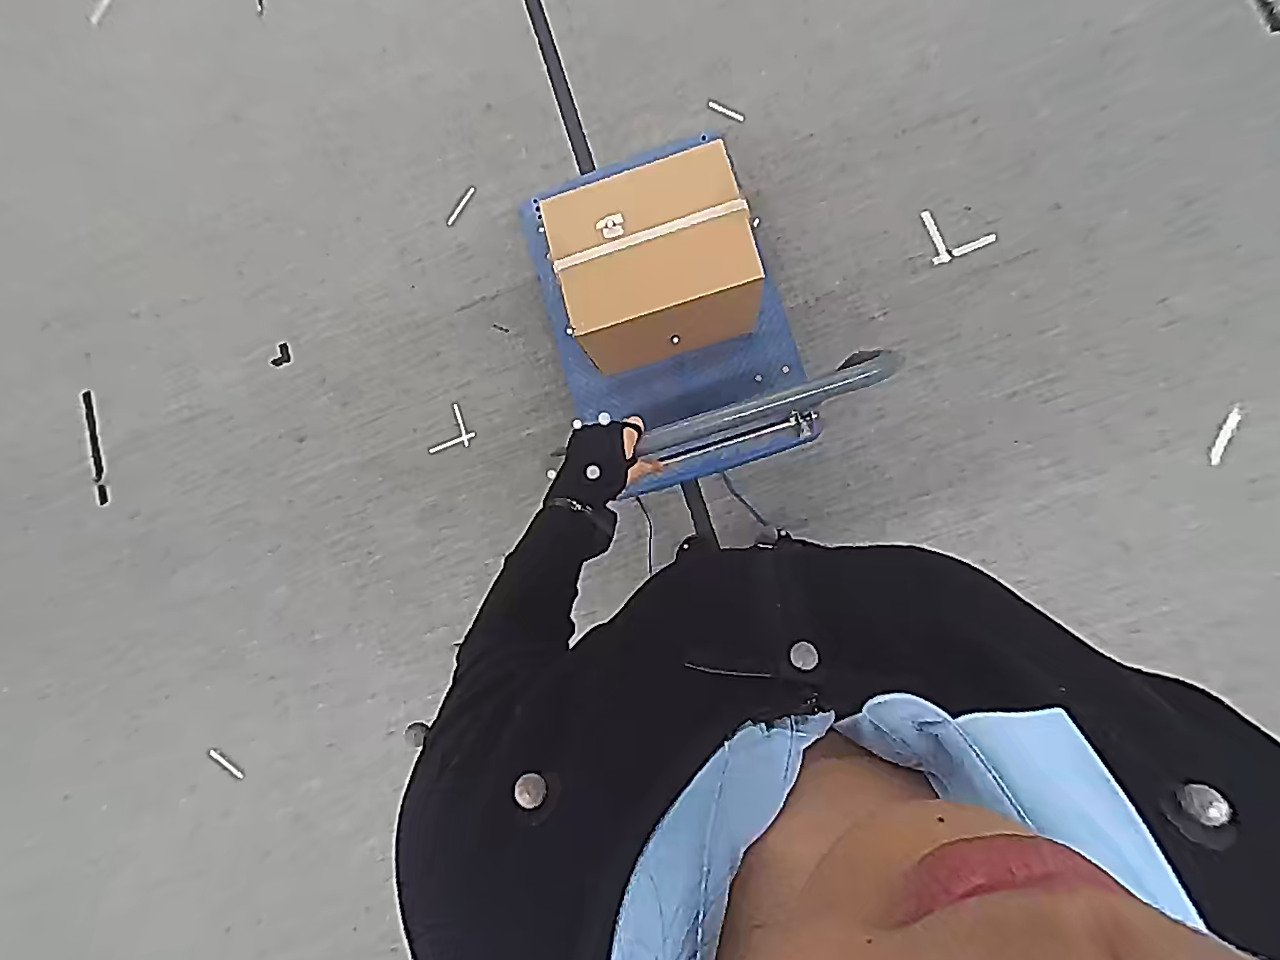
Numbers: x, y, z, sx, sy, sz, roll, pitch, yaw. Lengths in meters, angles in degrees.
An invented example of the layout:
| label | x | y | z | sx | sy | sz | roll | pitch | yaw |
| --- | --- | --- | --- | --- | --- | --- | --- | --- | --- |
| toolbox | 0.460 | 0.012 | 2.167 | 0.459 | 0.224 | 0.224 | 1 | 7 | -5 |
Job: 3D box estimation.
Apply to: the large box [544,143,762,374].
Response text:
| label | x | y | z | sx | sy | sz | roll | pitch | yaw |
| --- | --- | --- | --- | --- | --- | --- | --- | --- | --- |
| large box | 0.043 | -0.486 | 1.268 | 0.408 | 0.320 | 0.320 | -16 | 82 | 7 |
